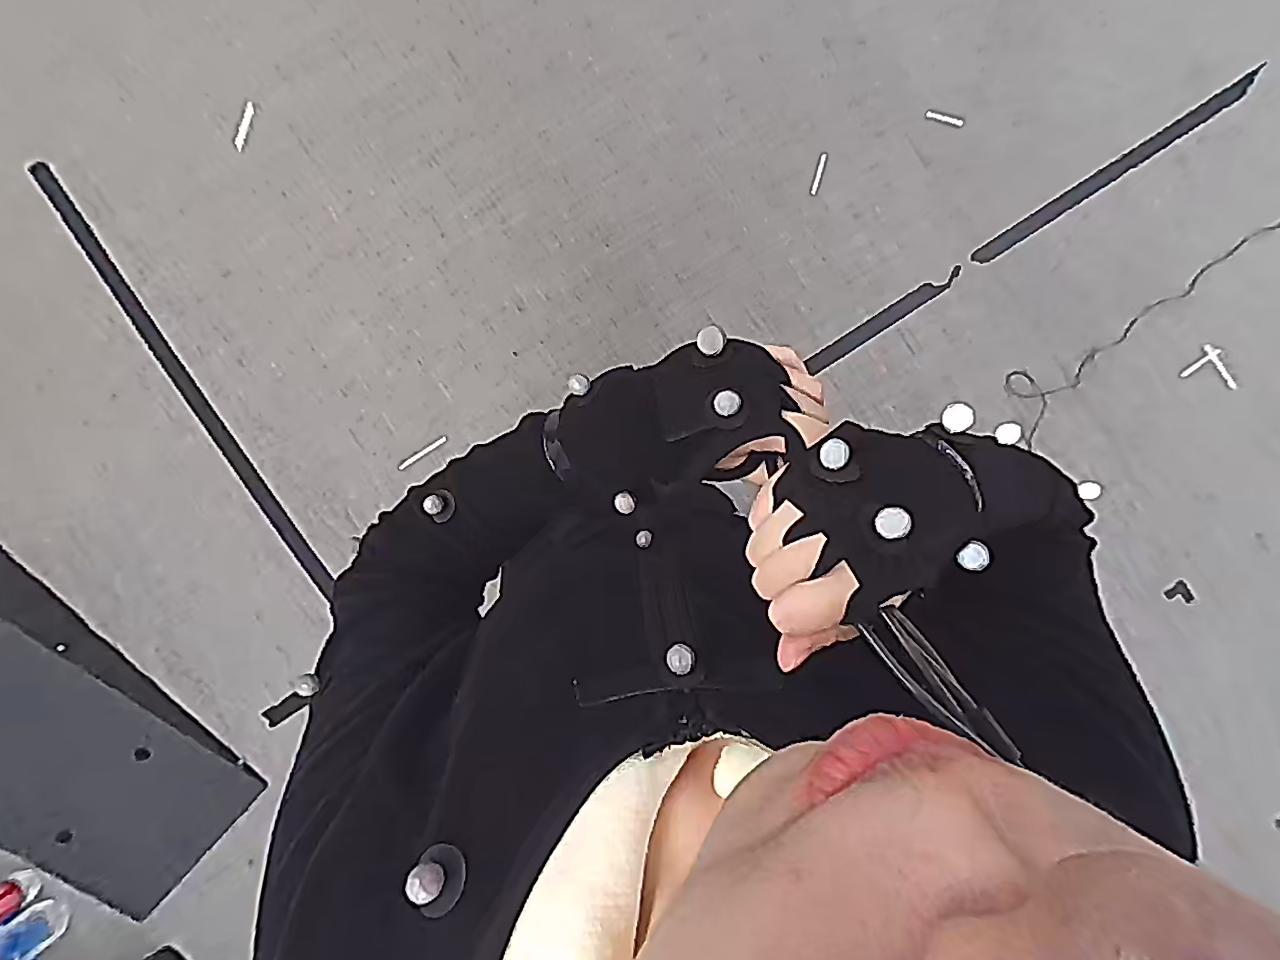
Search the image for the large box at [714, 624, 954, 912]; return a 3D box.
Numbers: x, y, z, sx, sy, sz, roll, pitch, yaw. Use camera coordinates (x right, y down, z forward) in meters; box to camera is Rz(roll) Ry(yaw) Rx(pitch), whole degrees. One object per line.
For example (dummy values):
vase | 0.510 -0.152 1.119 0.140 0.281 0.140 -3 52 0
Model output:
large box | 0.394 0.591 1.186 0.320 0.320 0.408 -20 92 -1
